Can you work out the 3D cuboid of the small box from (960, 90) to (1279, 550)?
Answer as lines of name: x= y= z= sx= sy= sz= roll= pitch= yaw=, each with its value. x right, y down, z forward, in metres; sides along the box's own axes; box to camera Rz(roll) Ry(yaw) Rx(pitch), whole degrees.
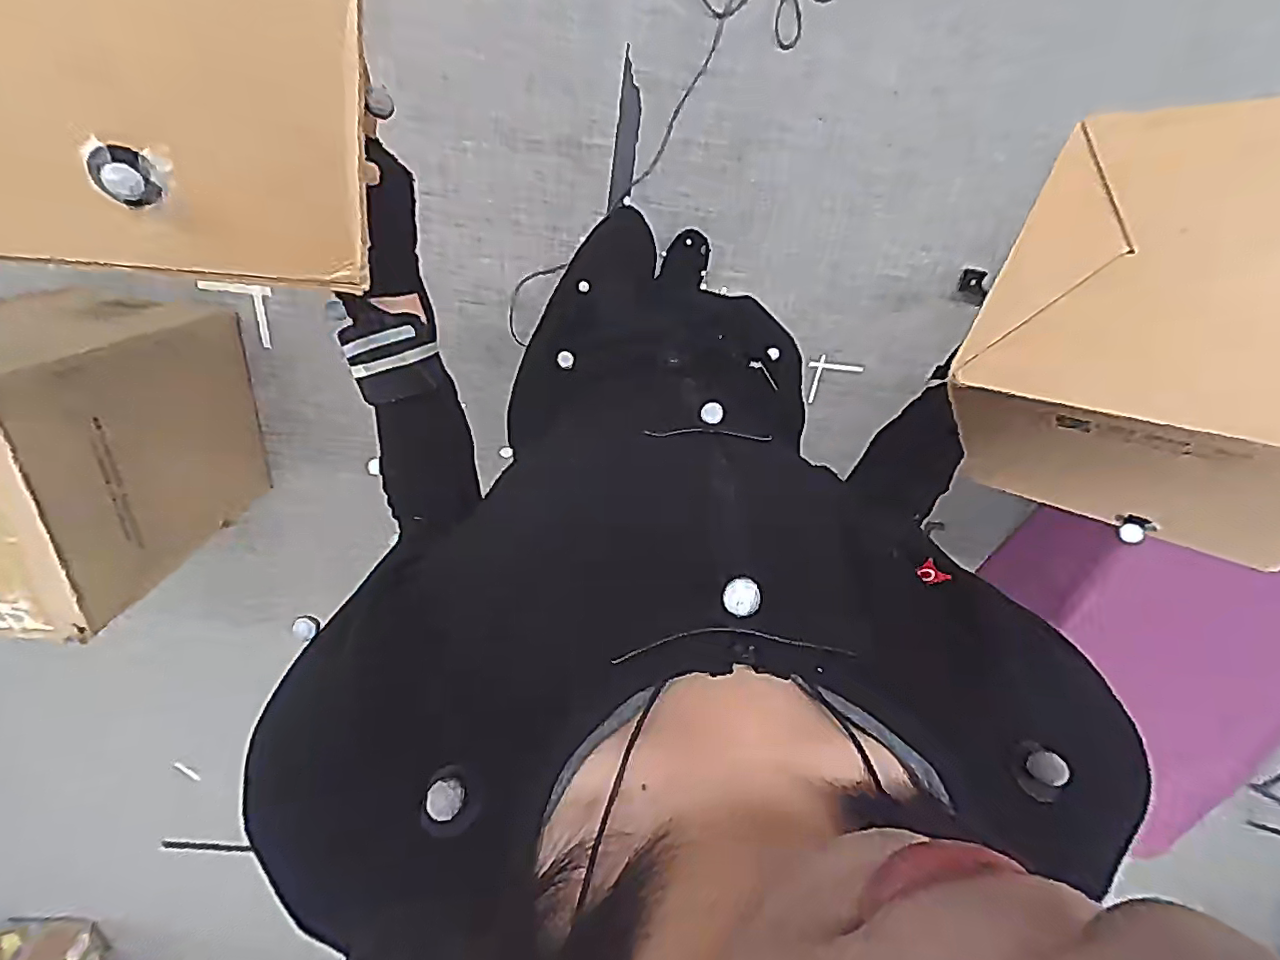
small box: x=0.308 y=-0.086 z=0.304 sx=0.176 sy=0.168 sz=0.179 roll=31 pitch=86 yaw=-48

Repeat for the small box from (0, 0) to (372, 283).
small box: x=-0.222 y=-0.206 z=0.233 sx=0.179 sy=0.168 sz=0.176 roll=-5 pitch=131 yaw=-29
